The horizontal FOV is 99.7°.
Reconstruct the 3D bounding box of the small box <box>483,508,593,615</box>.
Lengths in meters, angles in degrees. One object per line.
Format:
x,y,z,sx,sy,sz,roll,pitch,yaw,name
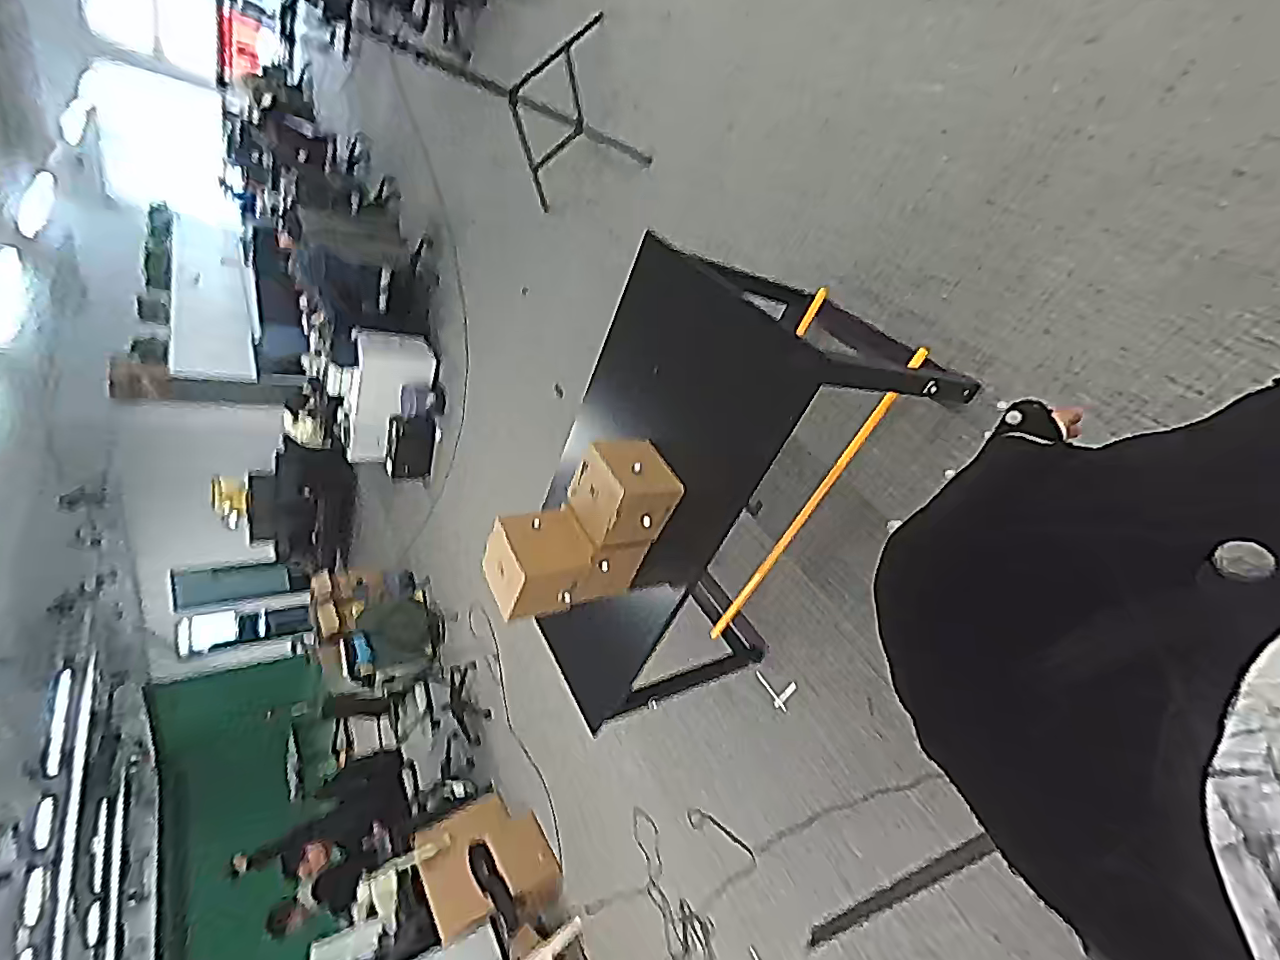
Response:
-0.235,0.177,1.234,0.179,0.176,0.168,54,133,33,small box
